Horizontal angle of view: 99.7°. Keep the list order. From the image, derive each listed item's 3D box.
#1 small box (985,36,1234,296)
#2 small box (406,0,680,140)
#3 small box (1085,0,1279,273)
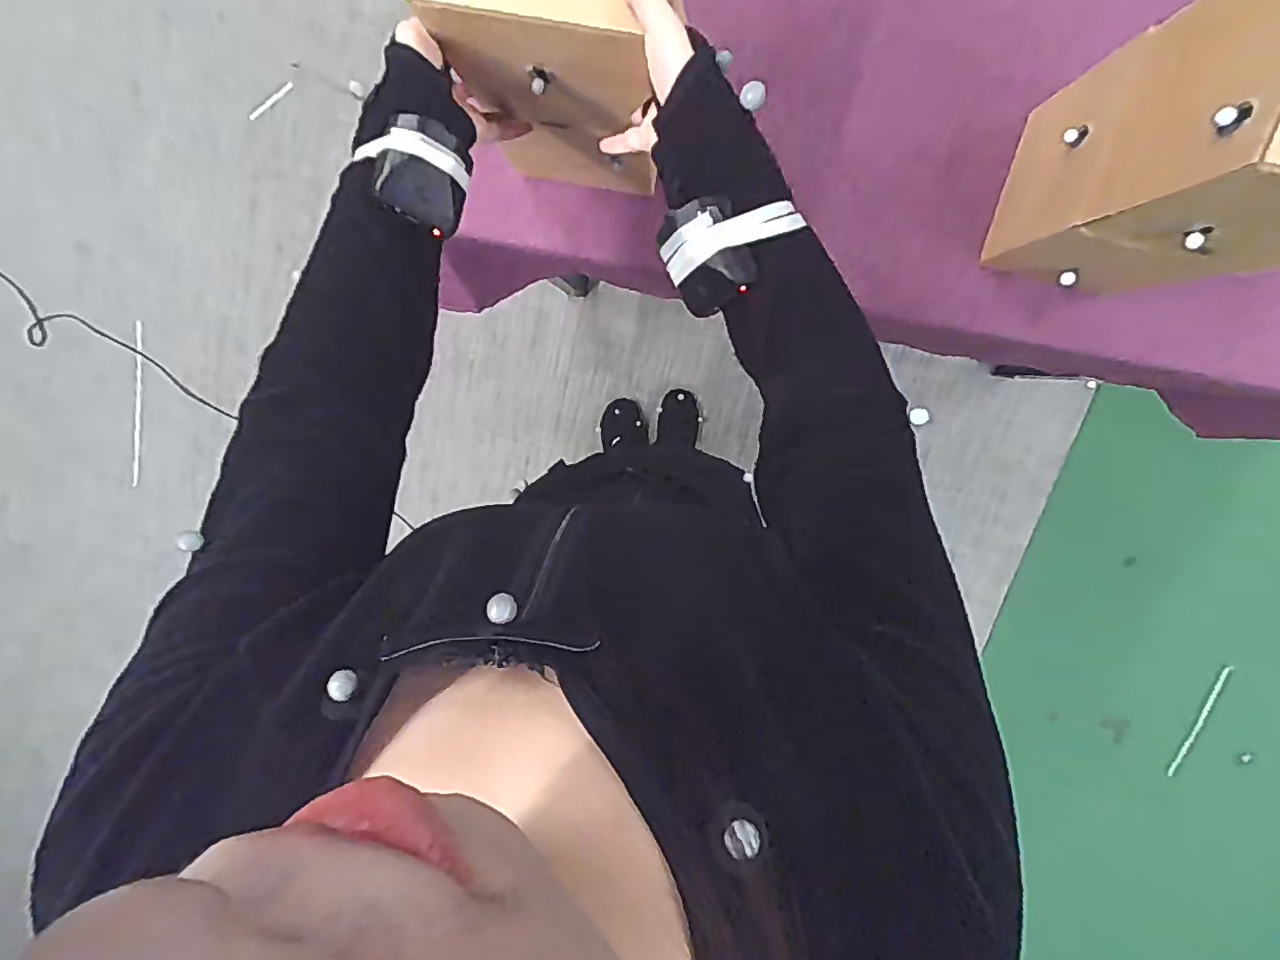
[{"bbox_3d":[0.514,-0.312,0.579,0.168,0.176,0.179,14,102,1],"label":"small box"},{"bbox_3d":[-0.057,-0.396,0.425,0.179,0.176,0.168,9,102,1],"label":"small box"},{"bbox_3d":[0.508,-0.279,0.420,0.168,0.176,0.179,14,103,0],"label":"small box"}]
